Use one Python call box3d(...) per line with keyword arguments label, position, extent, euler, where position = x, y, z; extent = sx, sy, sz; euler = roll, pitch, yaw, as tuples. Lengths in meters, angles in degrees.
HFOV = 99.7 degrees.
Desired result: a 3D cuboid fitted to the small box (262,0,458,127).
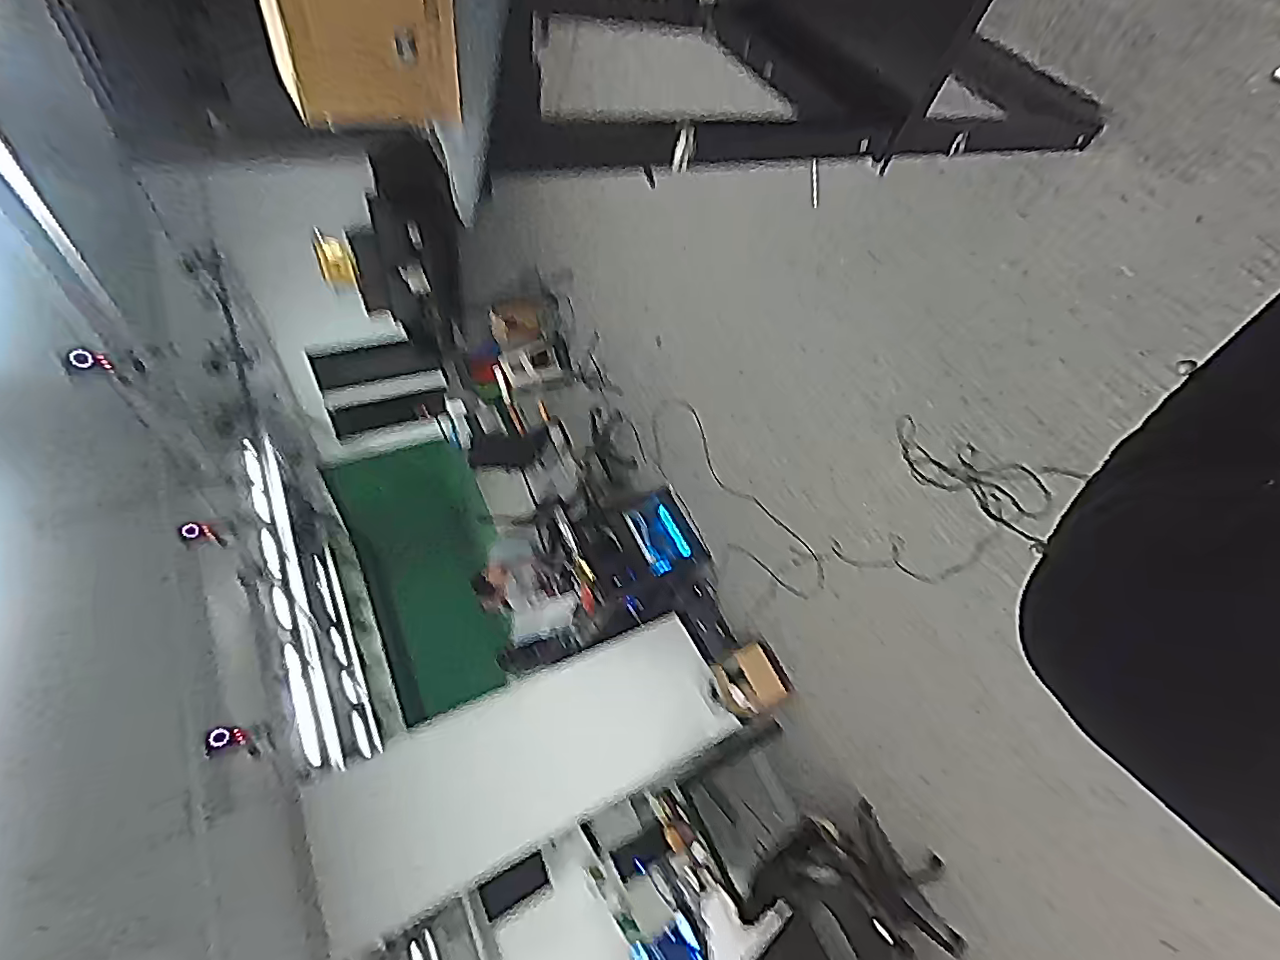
box3d(label="small box", position=(-0.312, -0.506, 0.597), extent=(0.179, 0.176, 0.168), euler=(53, 148, 33))
